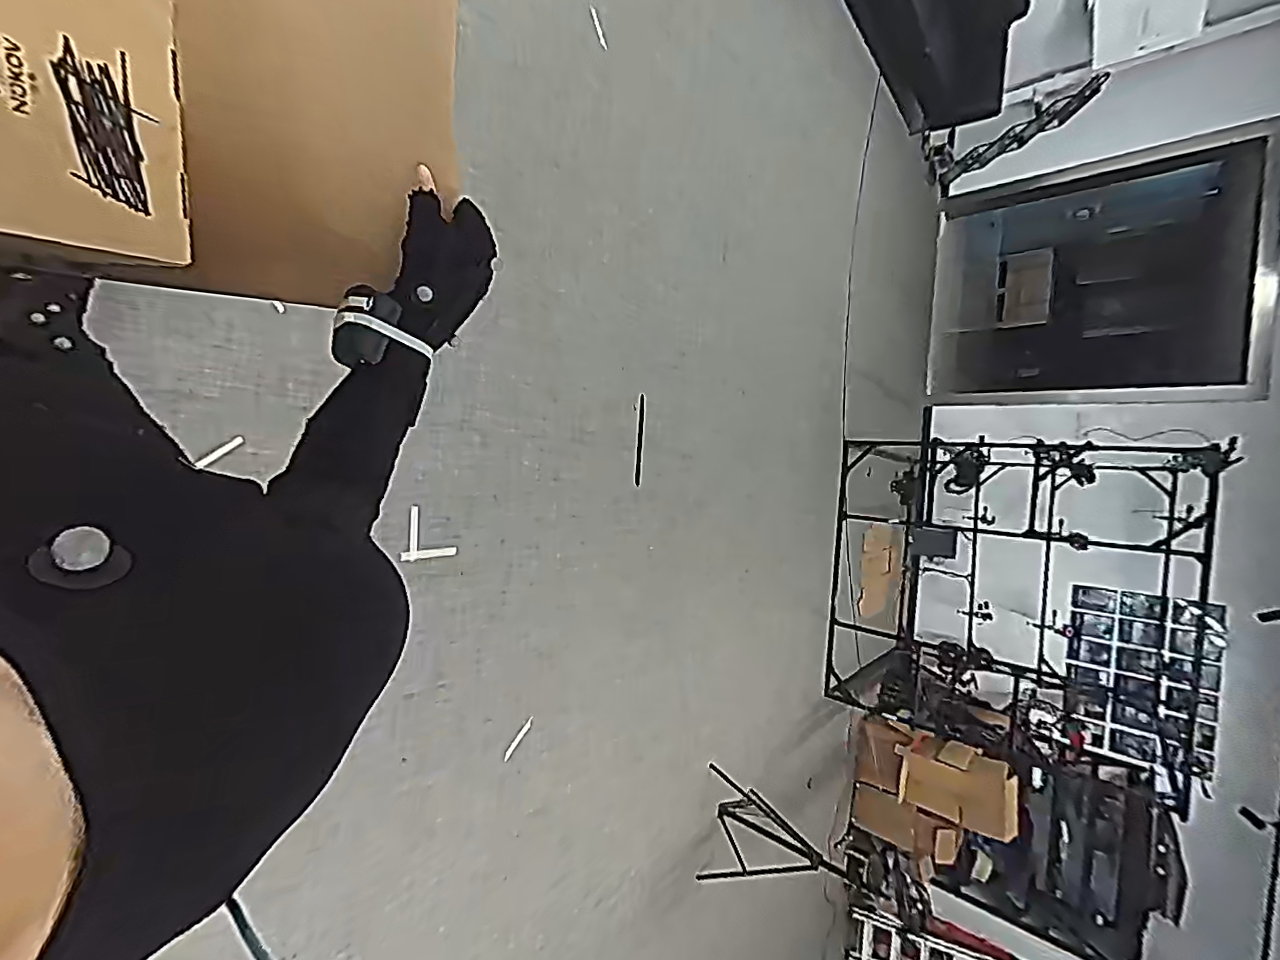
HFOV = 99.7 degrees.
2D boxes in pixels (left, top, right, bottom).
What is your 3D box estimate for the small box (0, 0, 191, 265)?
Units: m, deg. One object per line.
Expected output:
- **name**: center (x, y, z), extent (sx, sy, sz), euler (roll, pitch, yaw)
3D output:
- **small box**: center (-0.419, -0.235, 0.323), extent (0.179, 0.176, 0.168), euler (-19, 117, -64)
